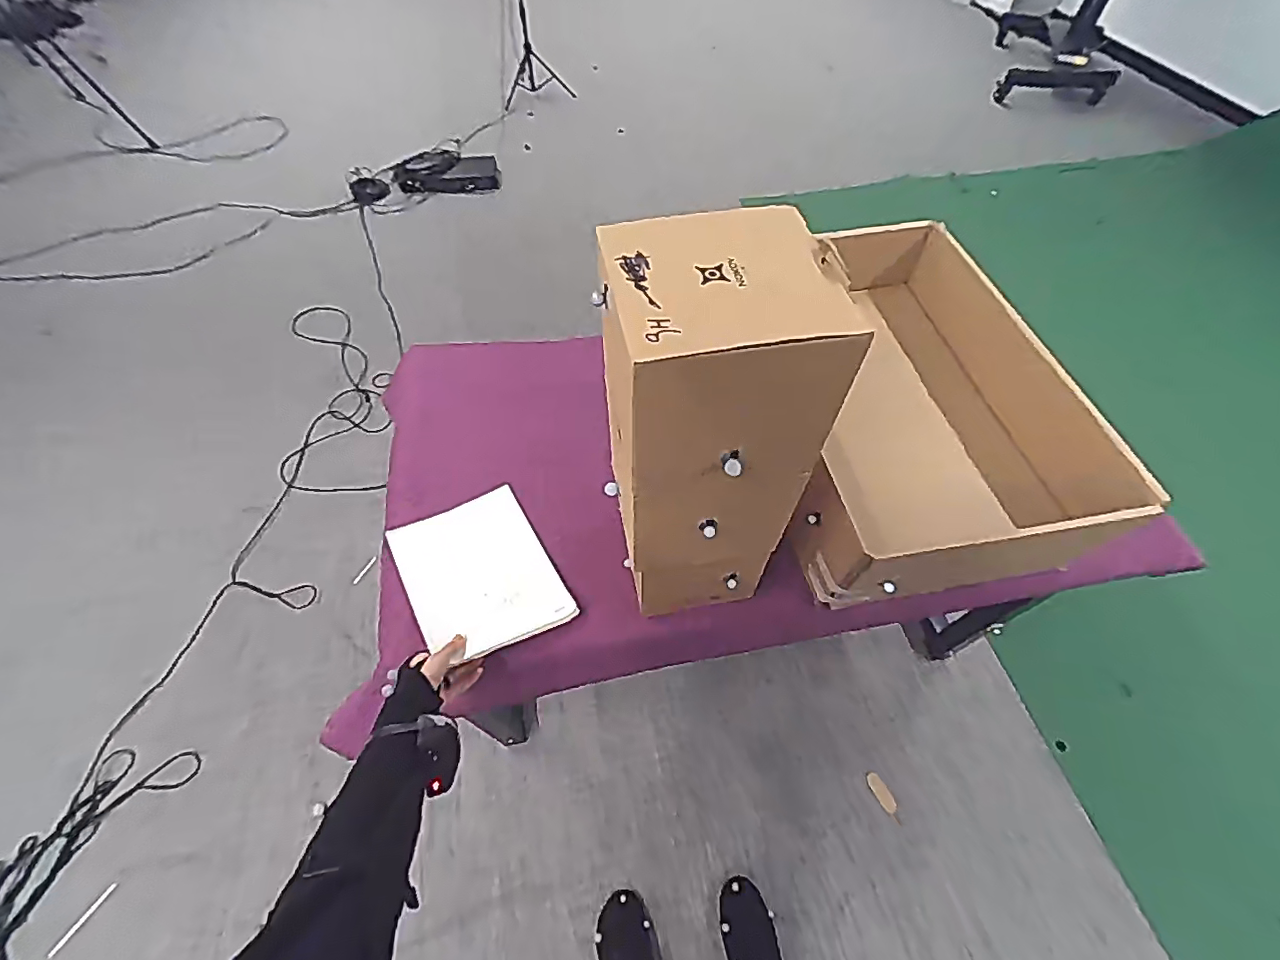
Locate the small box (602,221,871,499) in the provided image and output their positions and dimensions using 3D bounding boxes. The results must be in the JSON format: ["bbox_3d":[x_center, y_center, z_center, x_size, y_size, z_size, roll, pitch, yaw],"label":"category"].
[{"bbox_3d":[0.064,-0.101,0.479,0.179,0.176,0.168,-8,54,-7],"label":"small box"}]

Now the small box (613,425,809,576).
[{"bbox_3d":[0.064,-0.007,0.614,0.179,0.176,0.168,-8,55,-5],"label":"small box"}]
